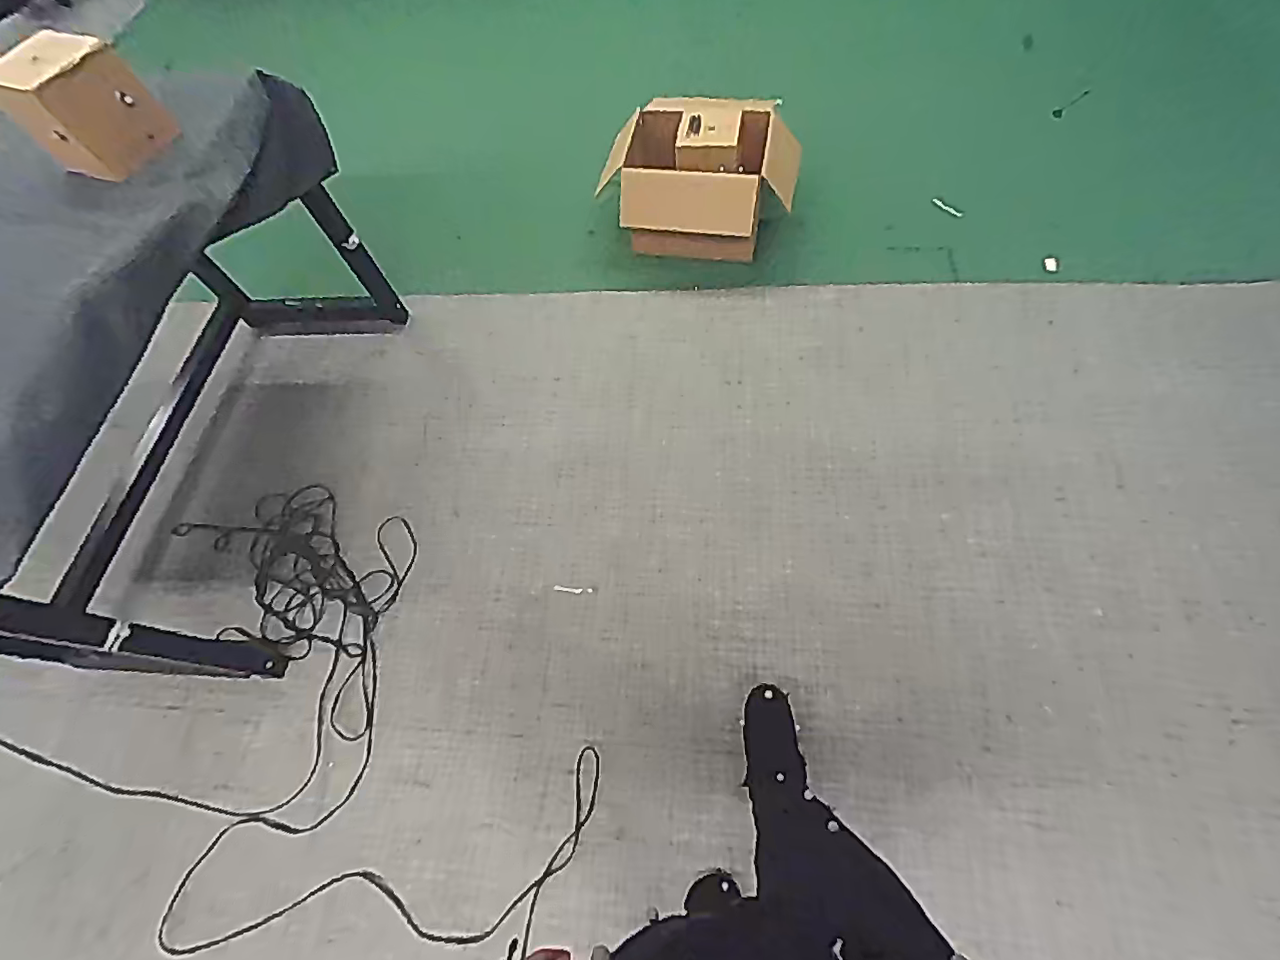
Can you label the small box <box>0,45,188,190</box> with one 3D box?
[{"bbox_3d":[-1.034,-0.686,1.032,0.179,0.176,0.168,18,65,17],"label":"small box"}]
